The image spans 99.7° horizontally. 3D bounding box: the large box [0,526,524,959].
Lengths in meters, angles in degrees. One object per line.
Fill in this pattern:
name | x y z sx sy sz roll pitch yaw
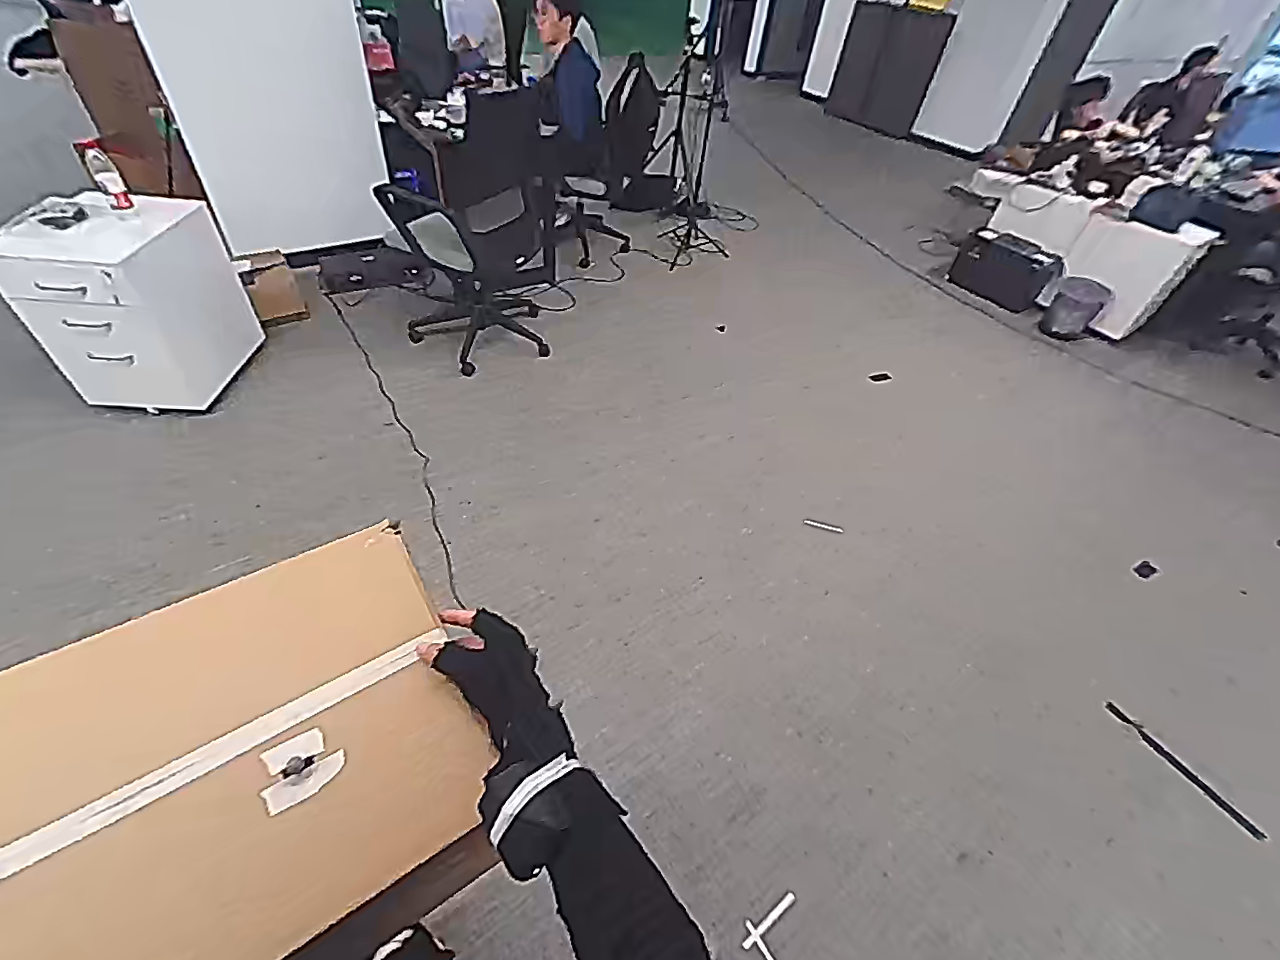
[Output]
large box | -0.368 0.320 0.554 0.408 0.320 0.320 -23 60 -27
